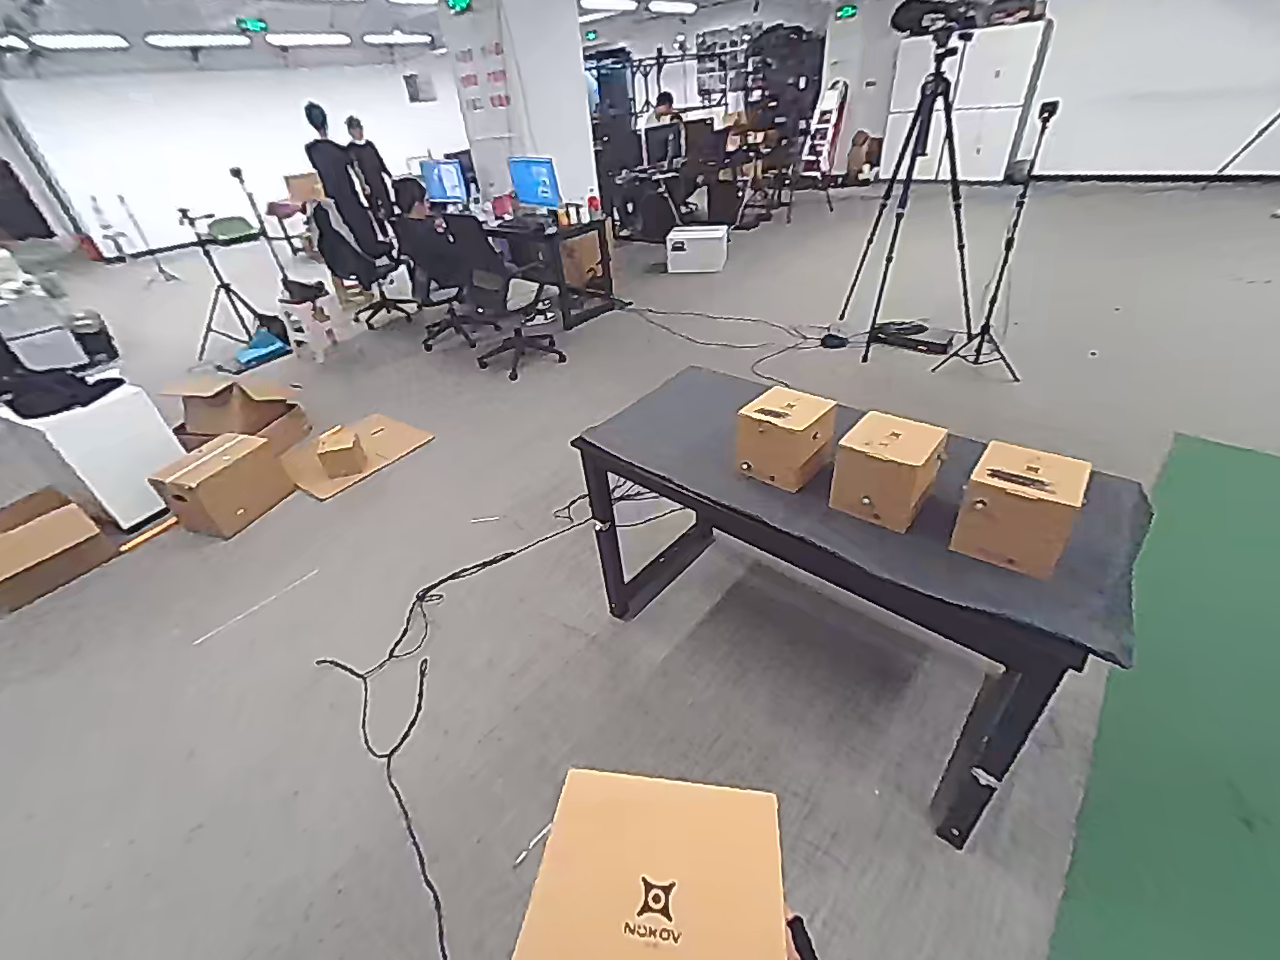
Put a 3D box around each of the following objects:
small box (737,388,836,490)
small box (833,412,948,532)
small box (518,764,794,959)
[{"bbox_3d":[0.351,-0.099,1.307,0.168,0.176,0.179,25,45,36],"label":"small box"},{"bbox_3d":[0.532,-0.020,1.167,0.168,0.176,0.179,23,44,35],"label":"small box"},{"bbox_3d":[0.015,0.343,0.384,0.168,0.176,0.179,3,28,8],"label":"small box"}]
